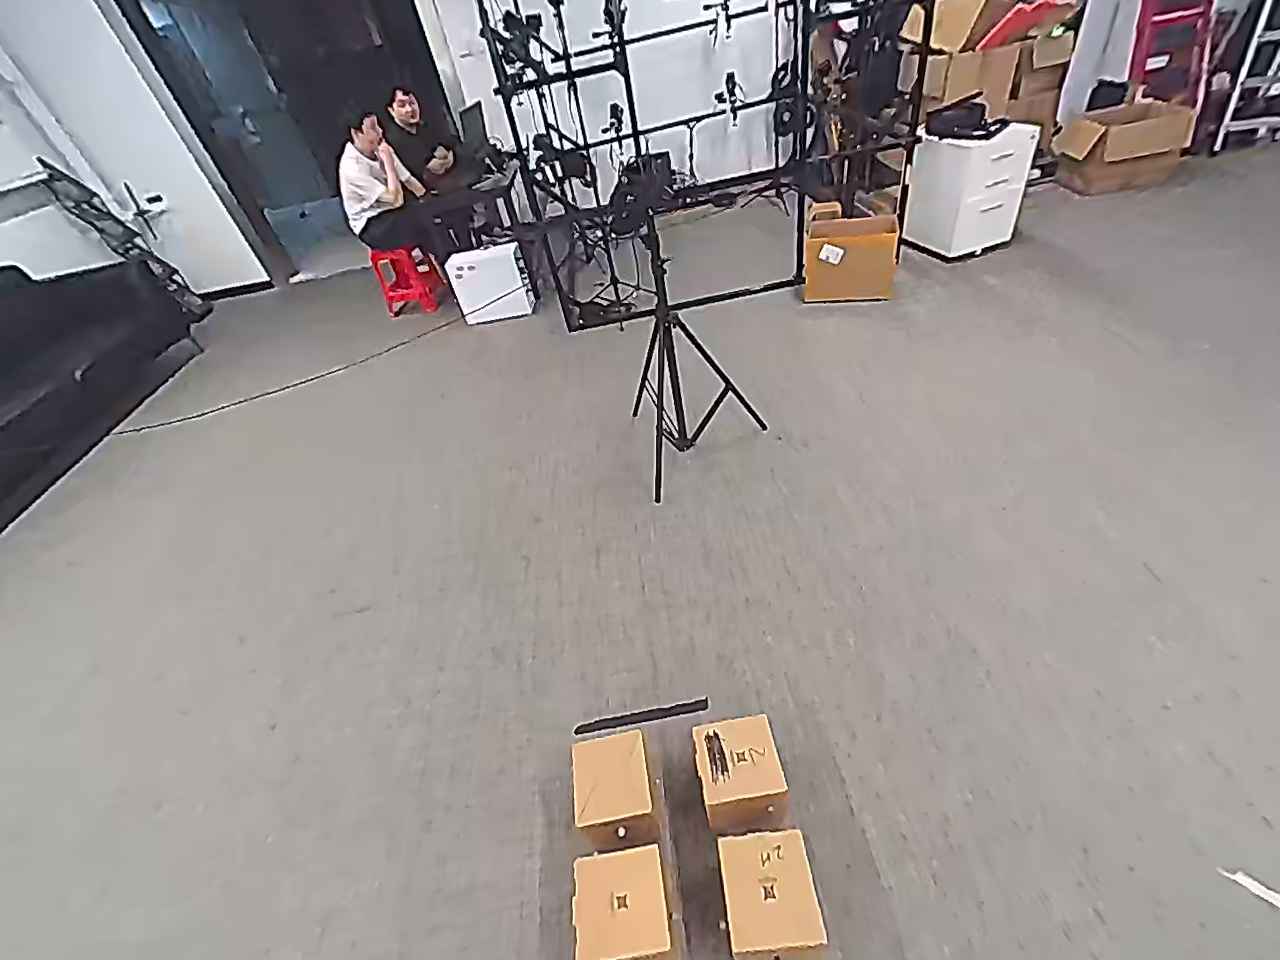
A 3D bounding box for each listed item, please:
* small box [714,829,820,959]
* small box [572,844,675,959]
[{"bbox_3d":[0.242,0.810,1.052,0.168,0.176,0.179,-8,41,4],"label":"small box"},{"bbox_3d":[-0.031,0.854,1.074,0.179,0.176,0.168,-12,41,2],"label":"small box"}]
